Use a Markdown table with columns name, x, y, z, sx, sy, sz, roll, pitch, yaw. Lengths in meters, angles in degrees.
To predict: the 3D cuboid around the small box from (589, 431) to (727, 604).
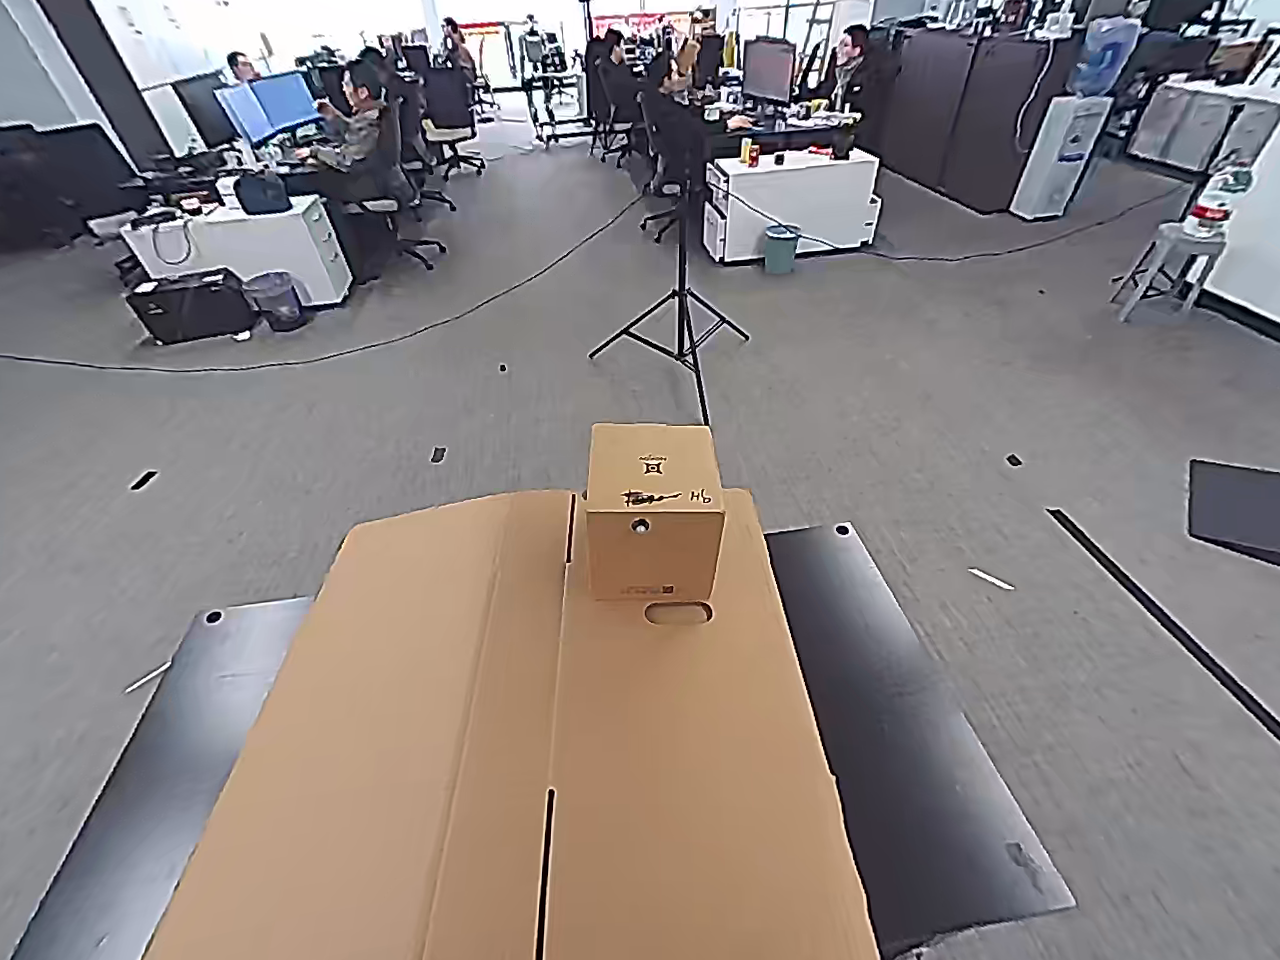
| name | x | y | z | sx | sy | sz | roll | pitch | yaw |
| --- | --- | --- | --- | --- | --- | --- | --- | --- | --- |
| small box | 0.019 | 0.049 | 0.747 | 0.168 | 0.176 | 0.179 | 0 | 40 | -1 |
